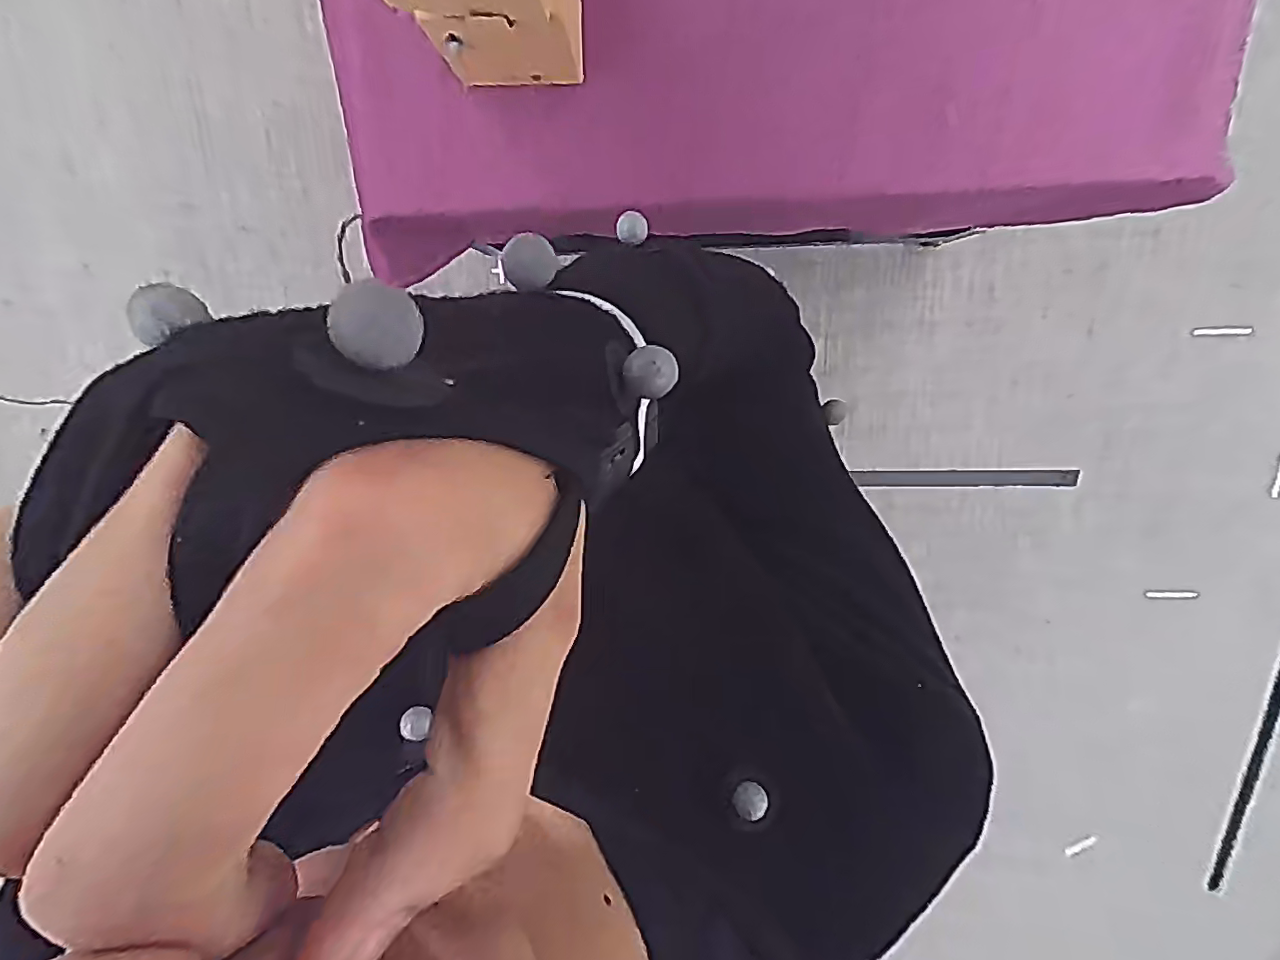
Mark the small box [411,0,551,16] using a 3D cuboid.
[{"bbox_3d":[-0.177,-0.561,0.484,0.179,0.176,0.168,6,106,-1],"label":"small box"}]
